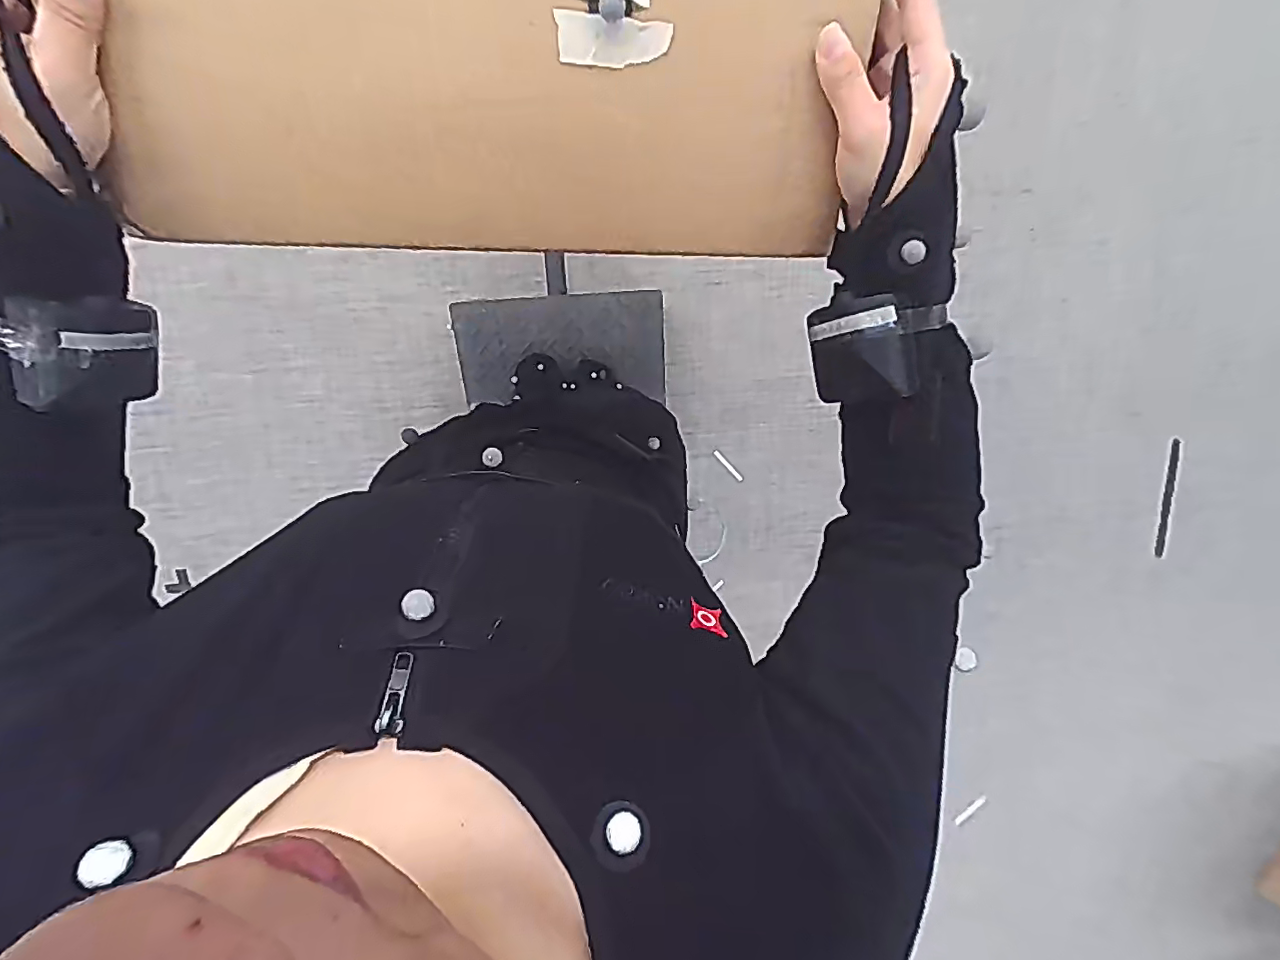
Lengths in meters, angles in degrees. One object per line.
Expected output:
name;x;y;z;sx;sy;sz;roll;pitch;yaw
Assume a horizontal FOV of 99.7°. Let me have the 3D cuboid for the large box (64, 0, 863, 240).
large box;-0.092;-0.353;0.383;0.408;0.320;0.320;-1;119;-6
